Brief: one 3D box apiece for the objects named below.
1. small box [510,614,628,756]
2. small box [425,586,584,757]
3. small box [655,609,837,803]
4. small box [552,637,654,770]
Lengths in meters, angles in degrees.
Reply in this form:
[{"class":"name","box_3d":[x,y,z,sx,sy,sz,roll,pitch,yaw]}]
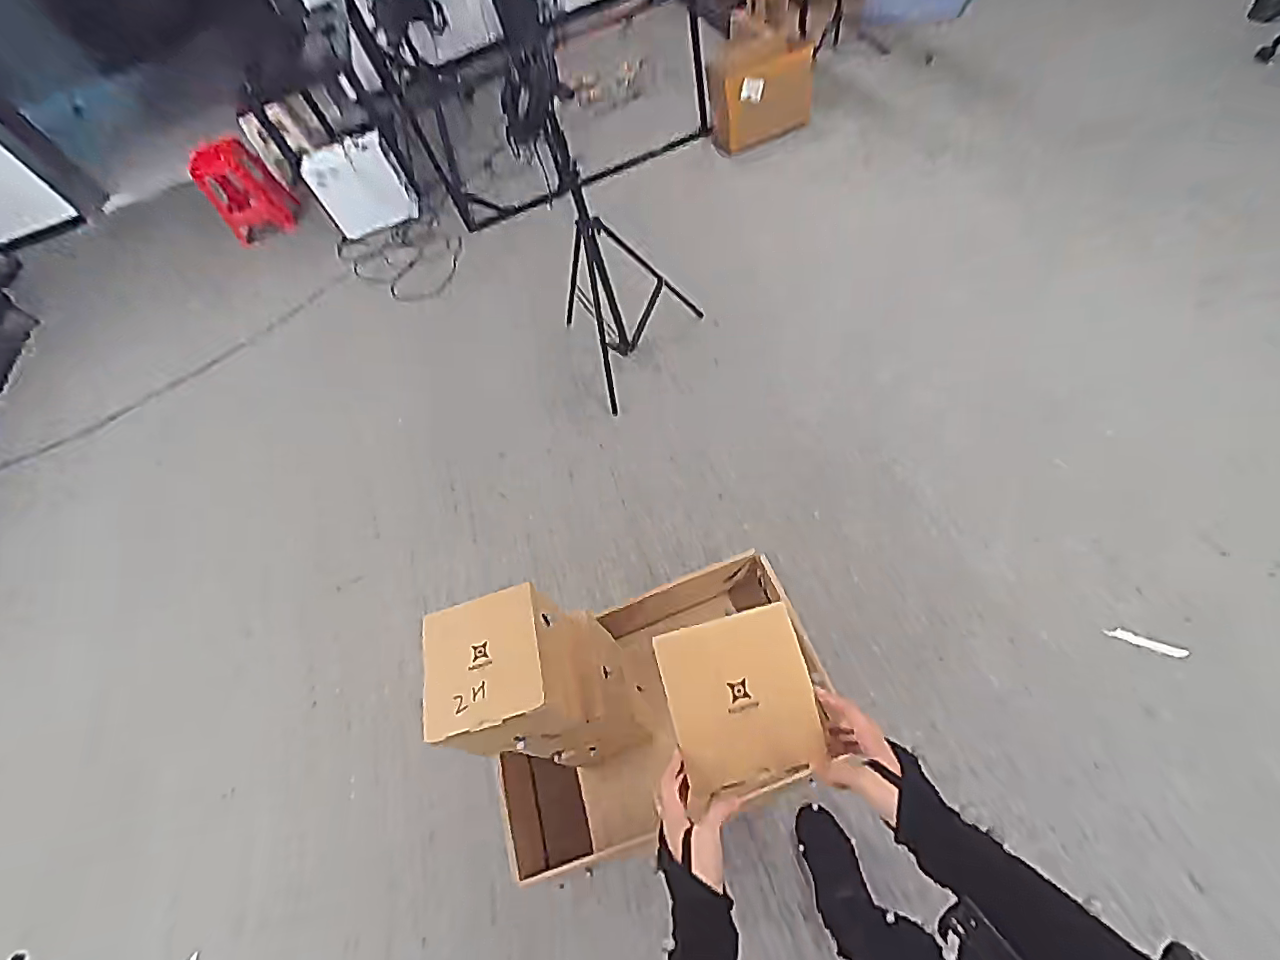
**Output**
[{"class":"small box","box_3d":[-0.129,0.357,0.924,0.168,0.176,0.179,-19,55,2]},{"class":"small box","box_3d":[-0.193,0.283,0.789,0.168,0.176,0.179,-18,56,3]},{"class":"small box","box_3d":[0.122,0.275,0.686,0.168,0.176,0.179,-16,72,1]},{"class":"small box","box_3d":[-0.088,0.442,1.060,0.168,0.176,0.179,-25,55,-1]}]
